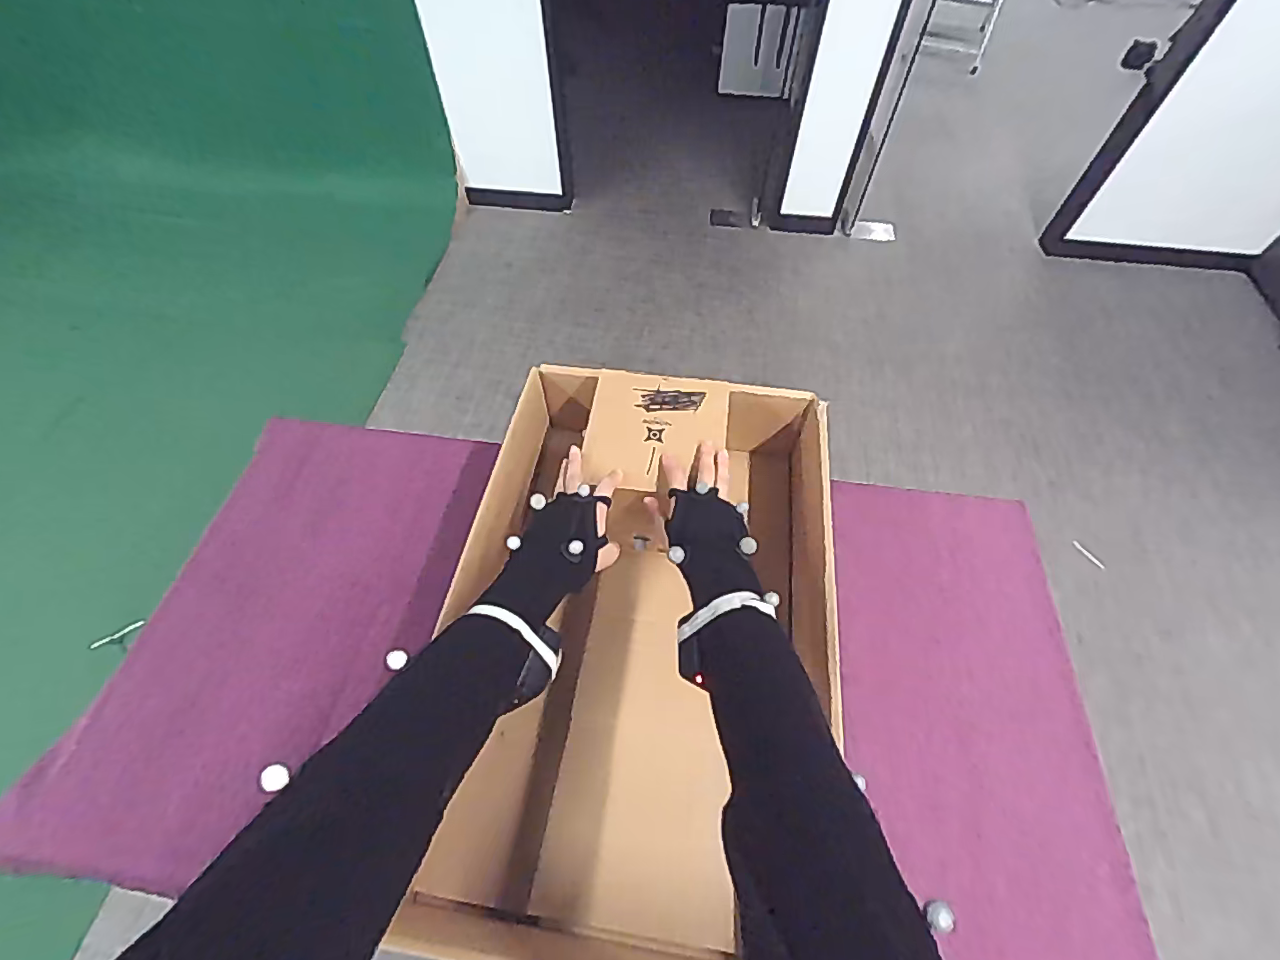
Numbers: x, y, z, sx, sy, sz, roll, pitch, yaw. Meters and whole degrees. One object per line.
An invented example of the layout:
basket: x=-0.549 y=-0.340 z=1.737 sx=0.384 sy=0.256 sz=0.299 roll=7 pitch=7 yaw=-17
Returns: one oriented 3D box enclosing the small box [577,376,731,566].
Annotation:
small box: x=0.020 y=-0.008 z=0.706 sx=0.168 sy=0.176 sz=0.179 roll=7 pitch=59 yaw=5
